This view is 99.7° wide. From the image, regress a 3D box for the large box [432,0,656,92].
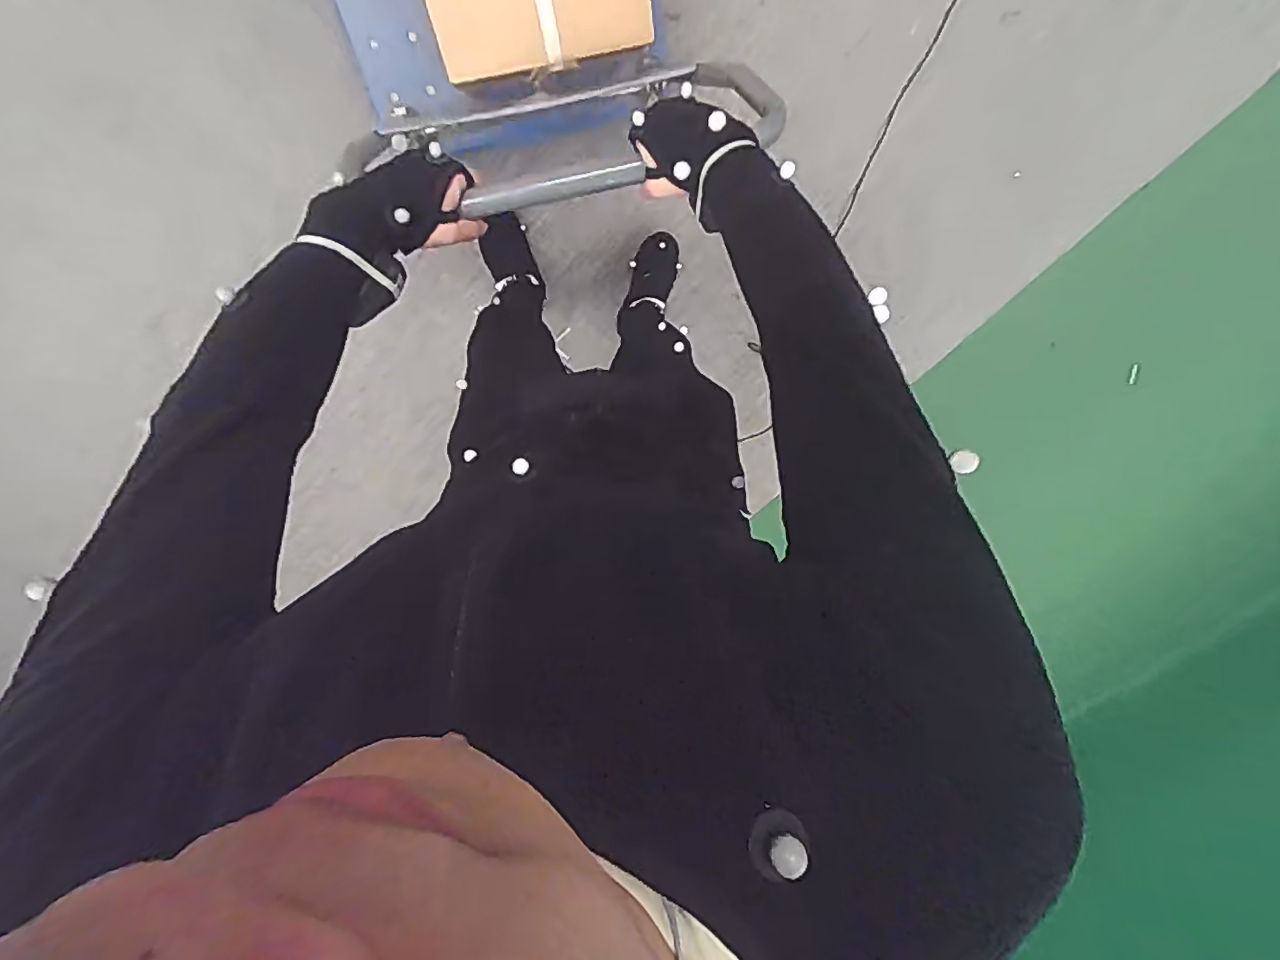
[{"bbox_3d":[-0.184,-0.866,0.821,0.320,0.320,0.408,-15,126,-4],"label":"large box"}]
